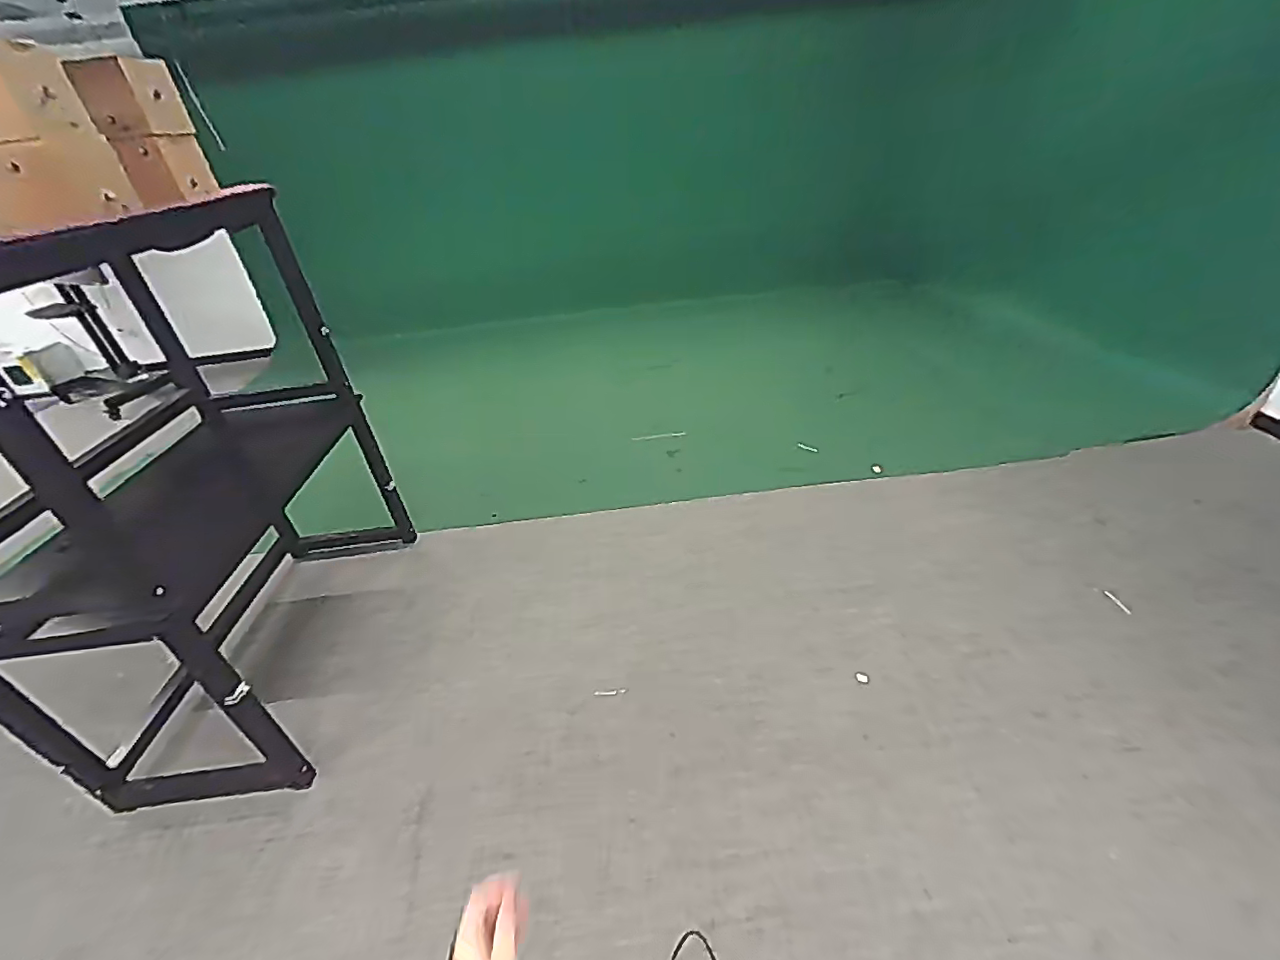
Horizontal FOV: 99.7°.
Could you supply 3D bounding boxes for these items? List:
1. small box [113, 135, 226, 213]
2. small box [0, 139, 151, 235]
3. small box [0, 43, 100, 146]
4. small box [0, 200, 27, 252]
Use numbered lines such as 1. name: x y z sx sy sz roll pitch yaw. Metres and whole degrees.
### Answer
1. small box: -1.320 -0.851 1.504 0.179 0.176 0.168 -5 35 1
2. small box: -1.288 -0.663 1.223 0.179 0.176 0.168 -6 34 0
3. small box: -1.316 -0.797 1.132 0.179 0.176 0.168 -6 34 0
4. small box: -1.242 -0.459 0.913 0.179 0.176 0.168 -8 34 0
